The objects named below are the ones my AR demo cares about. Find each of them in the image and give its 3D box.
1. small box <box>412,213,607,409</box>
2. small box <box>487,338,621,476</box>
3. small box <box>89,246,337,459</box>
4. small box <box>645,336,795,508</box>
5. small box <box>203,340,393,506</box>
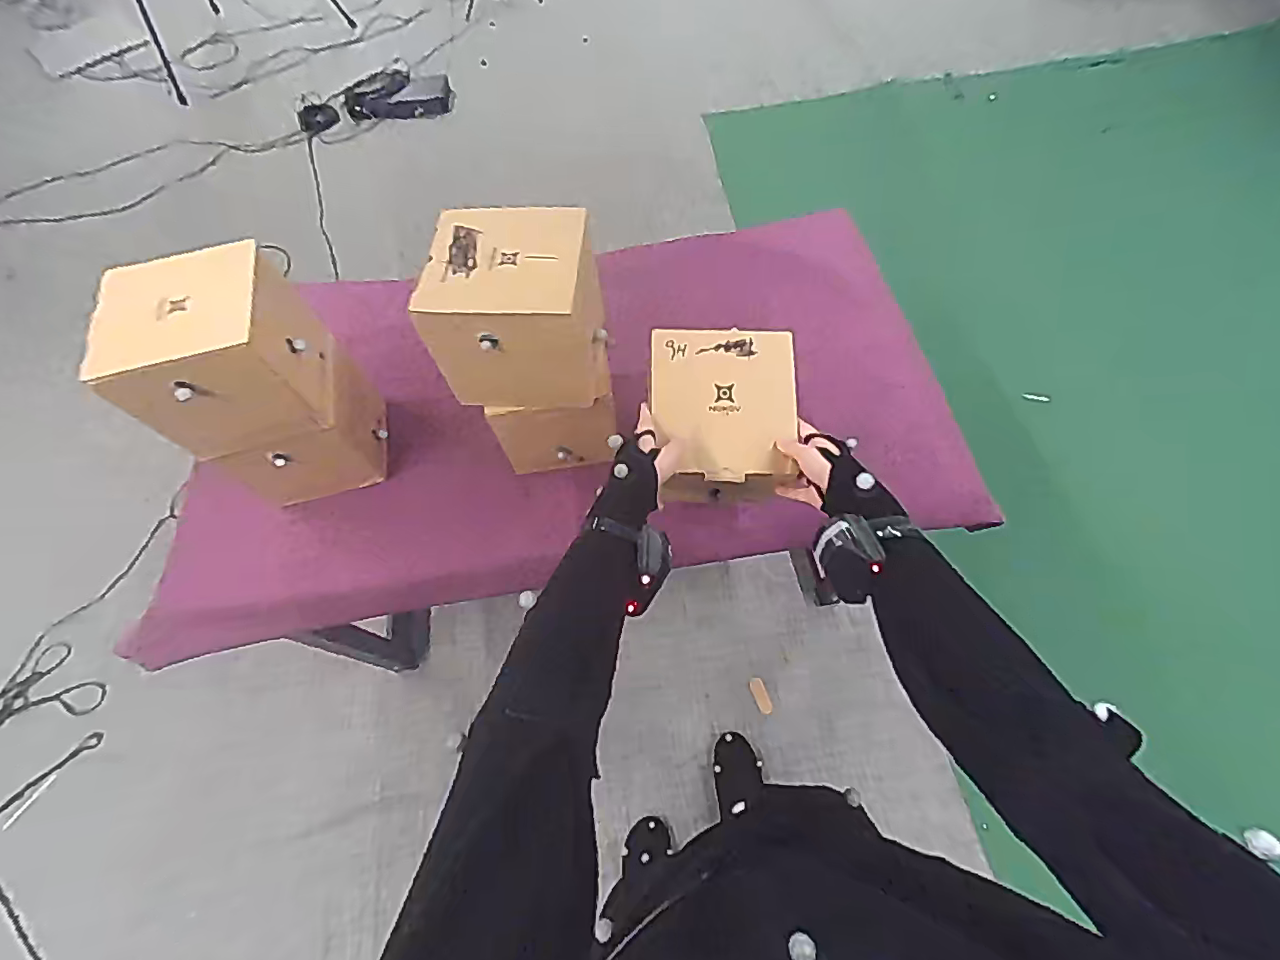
[{"bbox_3d":[-0.143,-0.201,0.665,0.179,0.176,0.168,2,62,5],"label":"small box"},{"bbox_3d":[-0.122,-0.127,0.812,0.168,0.176,0.179,-8,62,0],"label":"small box"},{"bbox_3d":[-0.501,-0.150,0.668,0.179,0.176,0.168,-15,63,-3],"label":"small box"},{"bbox_3d":[0.091,-0.062,0.682,0.168,0.176,0.179,1,77,0],"label":"small box"},{"bbox_3d":[-0.497,-0.077,0.813,0.179,0.176,0.168,-13,63,-3],"label":"small box"}]
